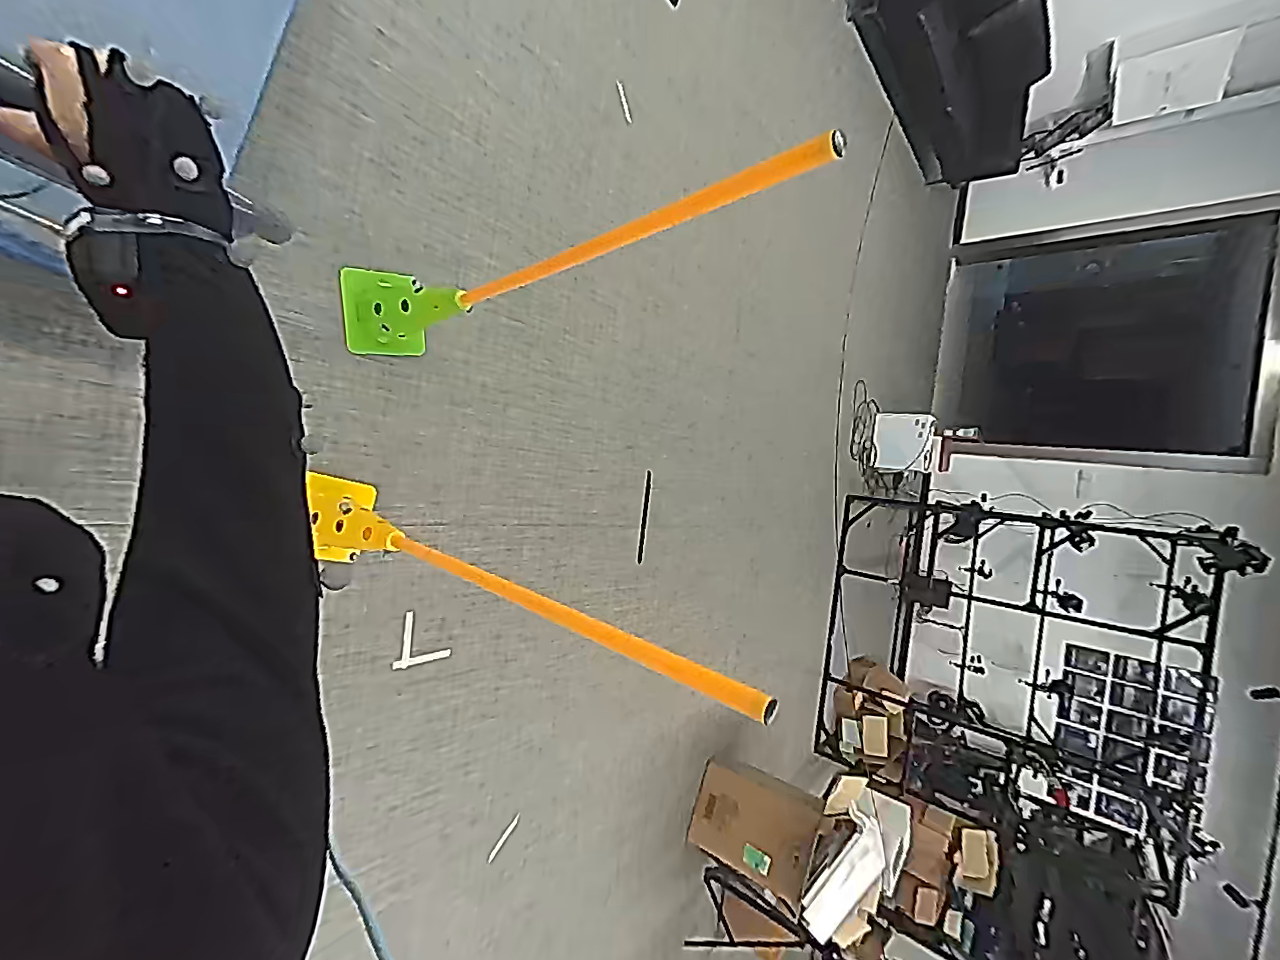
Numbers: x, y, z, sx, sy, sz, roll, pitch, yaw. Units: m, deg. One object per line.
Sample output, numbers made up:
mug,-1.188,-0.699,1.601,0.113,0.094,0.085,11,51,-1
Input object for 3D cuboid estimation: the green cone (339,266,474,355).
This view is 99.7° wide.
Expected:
green cone,-0.502,-0.392,1.230,0.200,0.368,0.202,-14,108,-49
